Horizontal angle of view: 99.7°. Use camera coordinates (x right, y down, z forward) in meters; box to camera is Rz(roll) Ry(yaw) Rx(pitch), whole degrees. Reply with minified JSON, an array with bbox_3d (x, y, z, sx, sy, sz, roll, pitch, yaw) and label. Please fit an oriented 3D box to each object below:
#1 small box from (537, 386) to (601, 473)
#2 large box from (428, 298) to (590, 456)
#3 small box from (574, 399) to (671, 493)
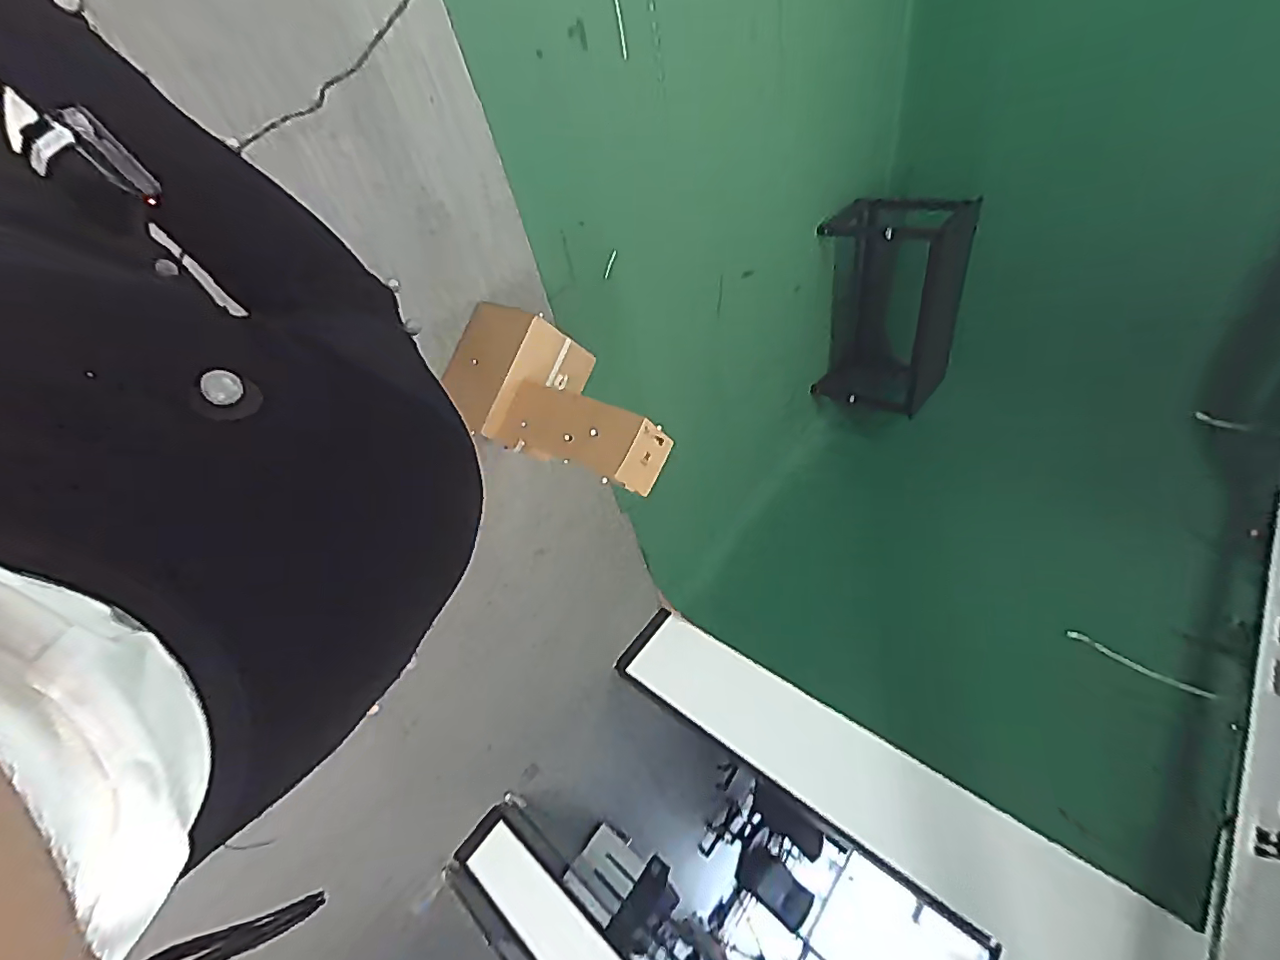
[{"bbox_3d":[-0.172,-0.147,1.572,0.168,0.176,0.179,33,82,-54],"label":"small box"},{"bbox_3d":[-0.440,-0.342,1.823,0.320,0.320,0.408,26,87,-55],"label":"large box"},{"bbox_3d":[-0.053,-0.094,1.473,0.168,0.176,0.179,34,83,-54],"label":"small box"}]
